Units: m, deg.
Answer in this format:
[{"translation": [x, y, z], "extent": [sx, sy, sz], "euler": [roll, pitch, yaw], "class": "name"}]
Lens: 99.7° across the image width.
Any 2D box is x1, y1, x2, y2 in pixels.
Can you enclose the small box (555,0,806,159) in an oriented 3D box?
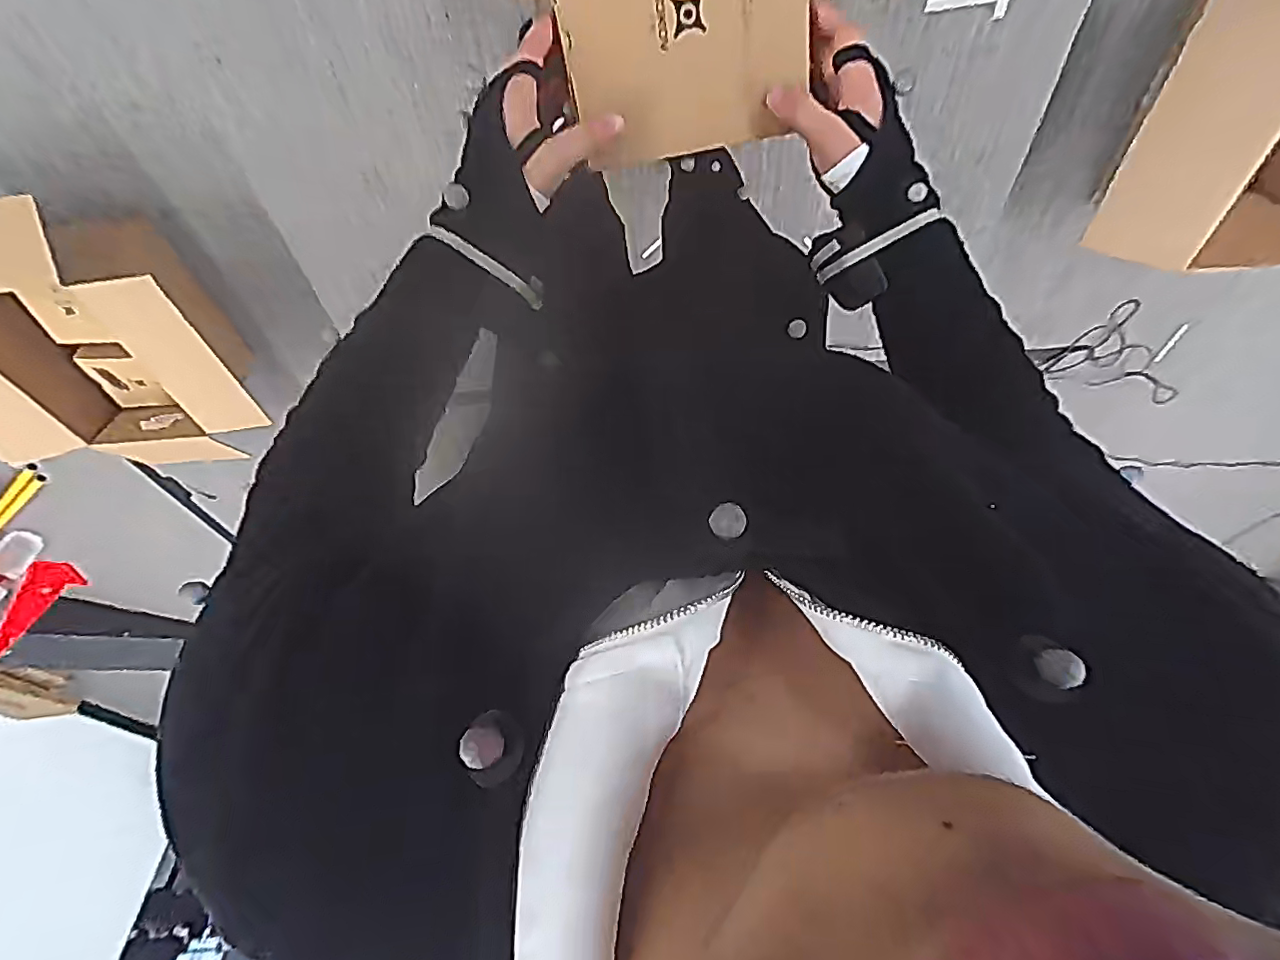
[{"translation": [0.028, -0.376, 0.444], "extent": [0.179, 0.176, 0.168], "euler": [-9, 125, 4], "class": "small box"}]
